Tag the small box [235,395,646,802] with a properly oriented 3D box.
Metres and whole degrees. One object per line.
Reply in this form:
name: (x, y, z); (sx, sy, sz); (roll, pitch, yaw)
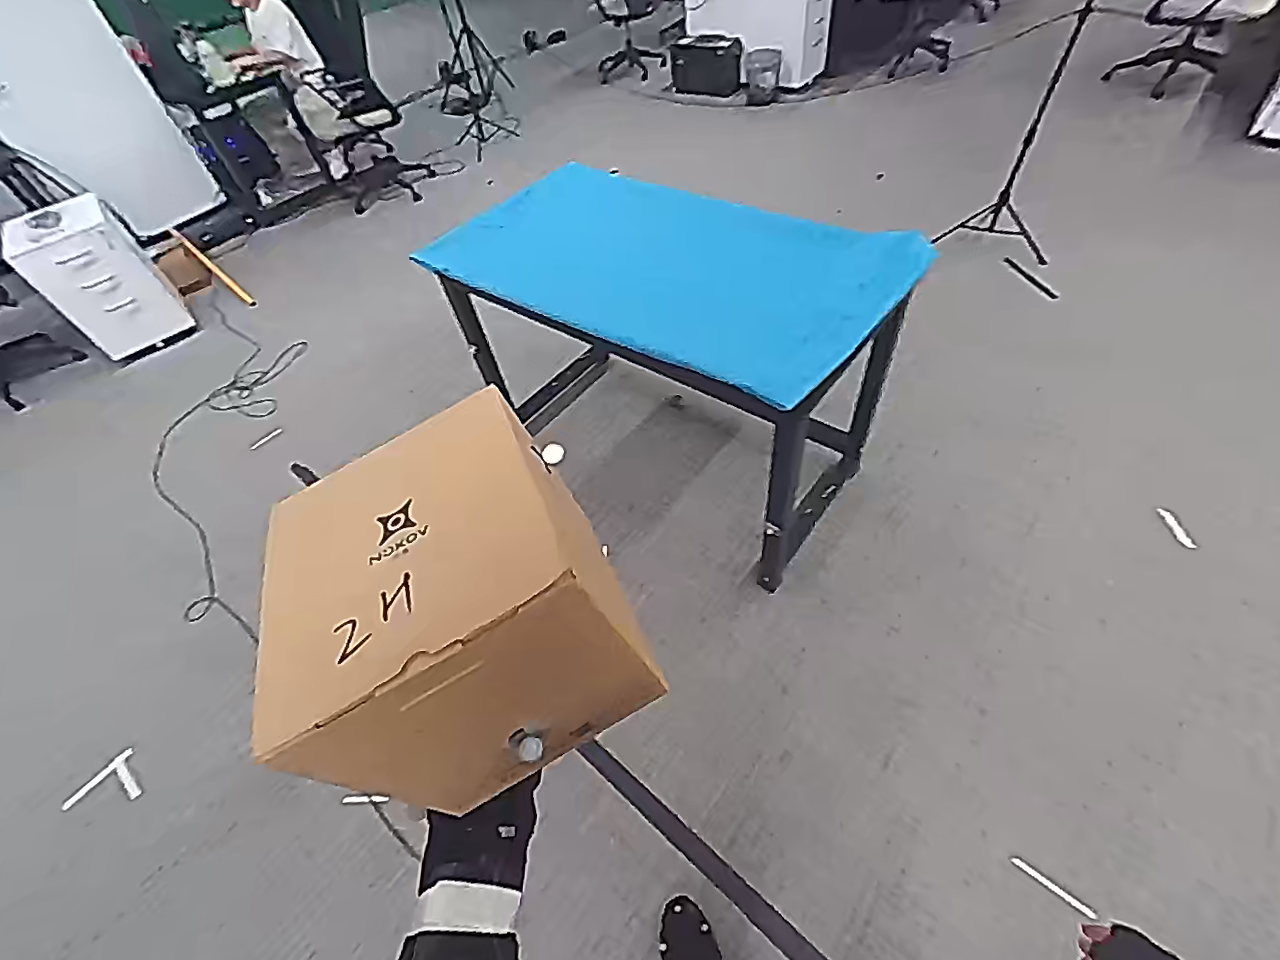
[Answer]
small box: (-0.117, 0.083, 0.362); (0.168, 0.176, 0.179); (-29, 50, 1)
